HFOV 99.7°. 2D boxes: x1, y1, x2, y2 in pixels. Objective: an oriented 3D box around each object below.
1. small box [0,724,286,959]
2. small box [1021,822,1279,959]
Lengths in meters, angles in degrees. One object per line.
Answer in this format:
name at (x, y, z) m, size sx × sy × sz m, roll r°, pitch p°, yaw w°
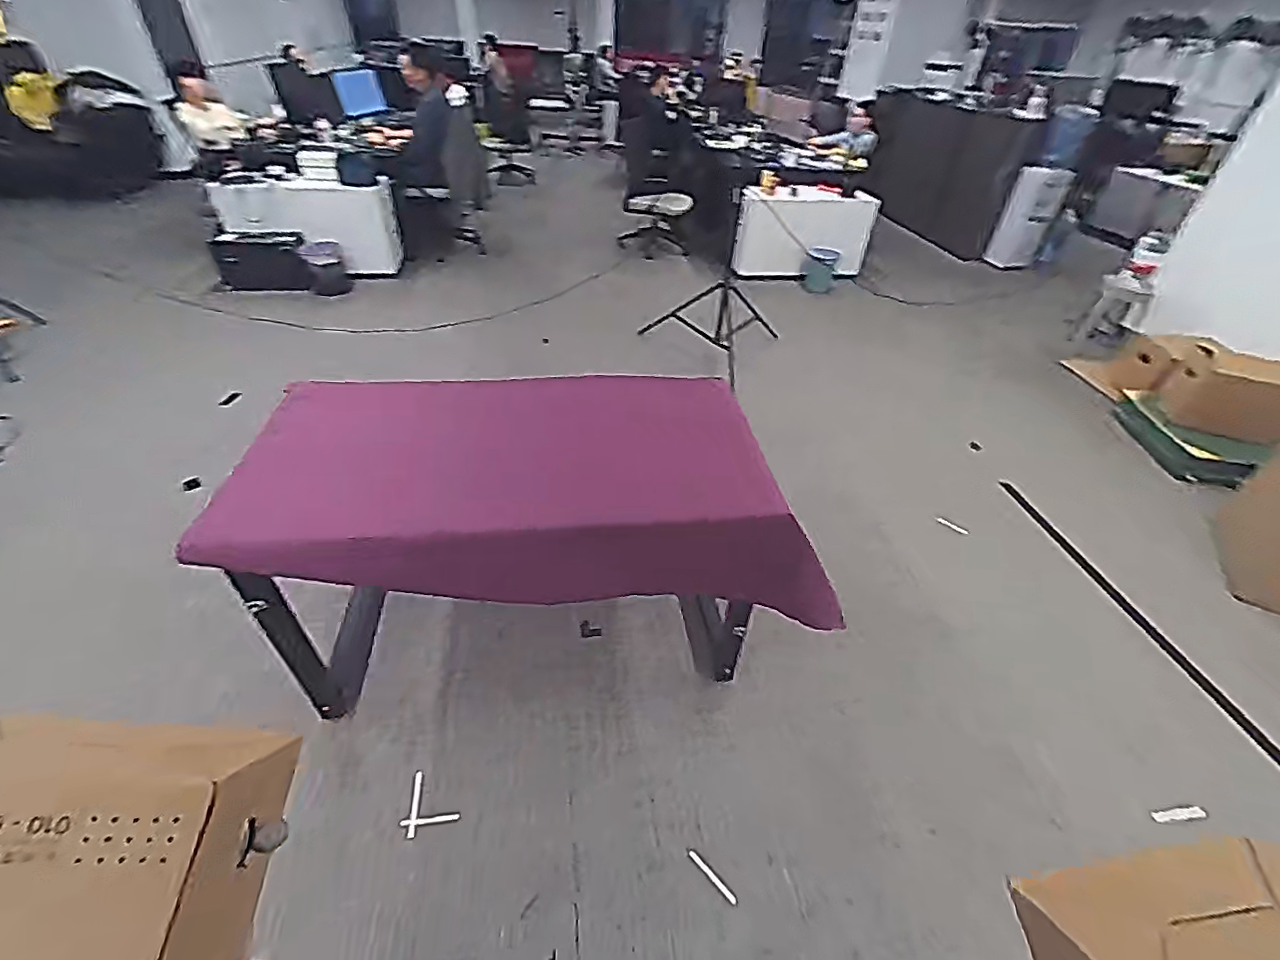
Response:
small box at (-0.279, 0.197, 0.226) m, size 0.168 × 0.179 × 0.176 m, roll 12°, pitch 66°, yaw -18°
small box at (0.341, 0.307, 0.276) m, size 0.168 × 0.179 × 0.176 m, roll -15°, pitch 73°, yaw 8°
